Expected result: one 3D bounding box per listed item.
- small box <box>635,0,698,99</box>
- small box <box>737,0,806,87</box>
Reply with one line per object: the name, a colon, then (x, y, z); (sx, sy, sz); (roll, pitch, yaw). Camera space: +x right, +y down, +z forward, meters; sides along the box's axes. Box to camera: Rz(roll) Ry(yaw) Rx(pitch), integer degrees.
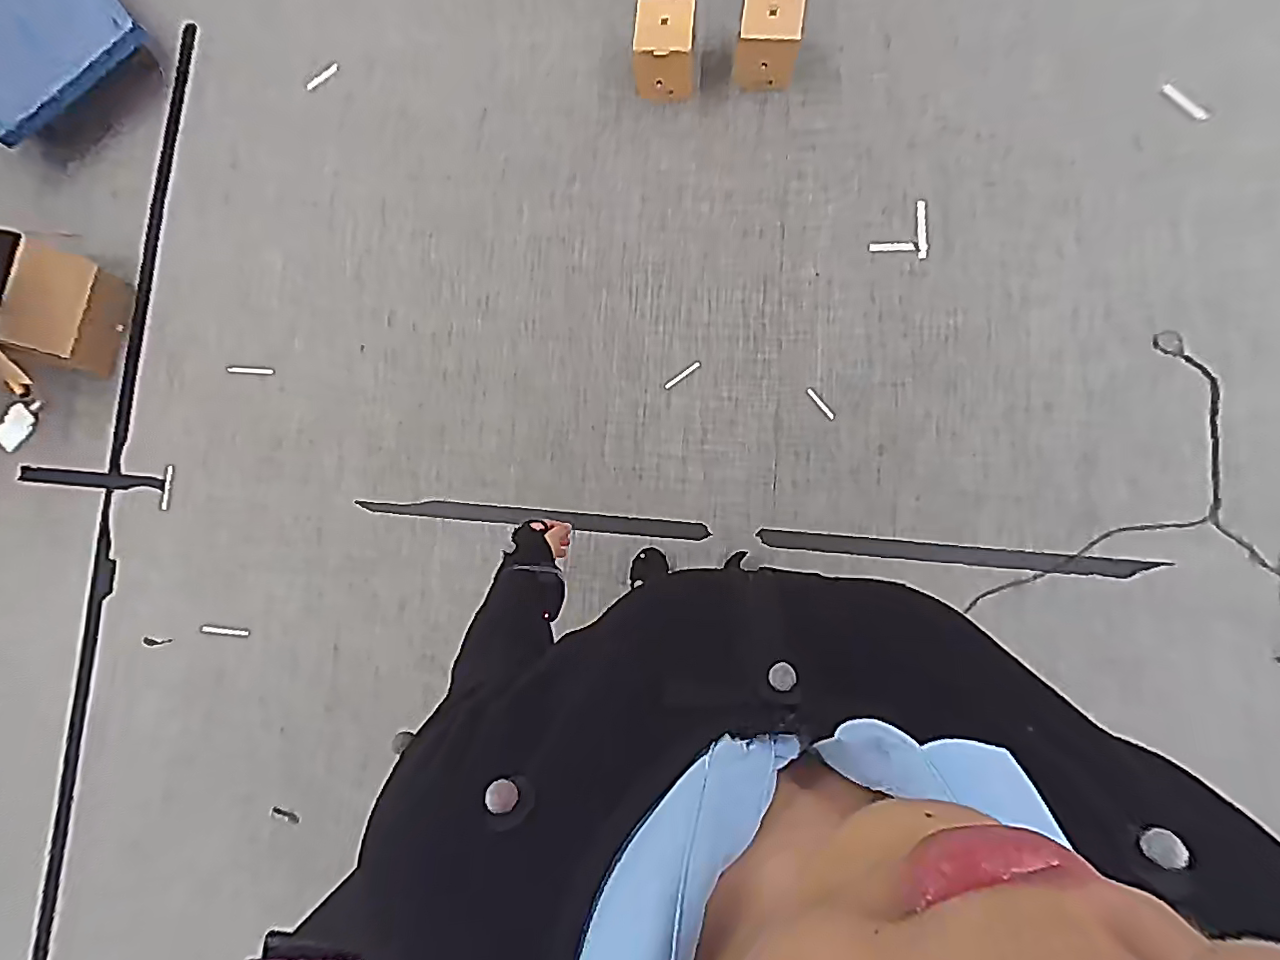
small box: (0.081, -1.272, 1.596); (0.168, 0.176, 0.179); (4, 85, 7)
small box: (0.377, -1.279, 1.563); (0.168, 0.176, 0.179); (7, 84, 6)
